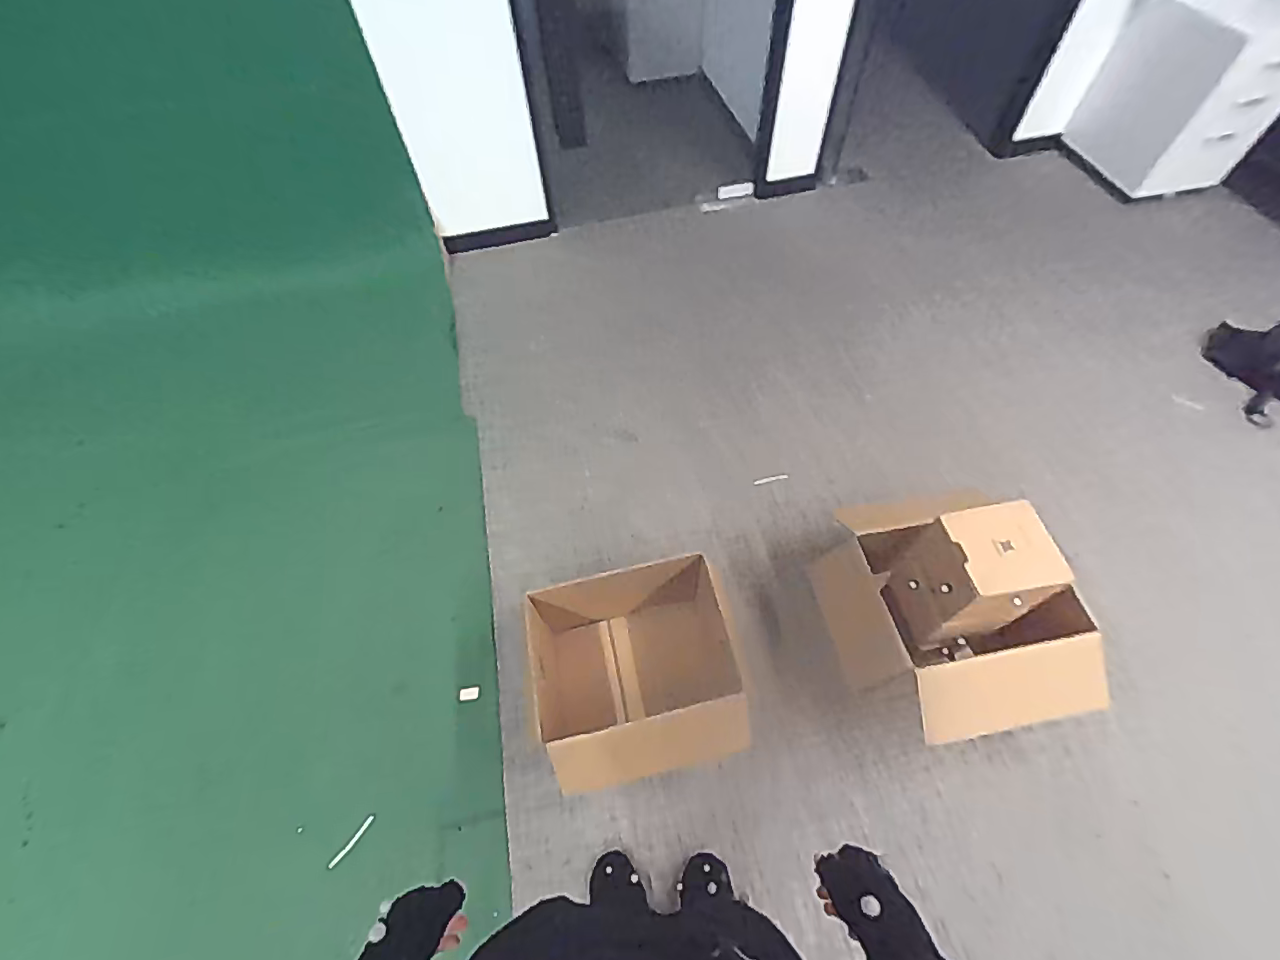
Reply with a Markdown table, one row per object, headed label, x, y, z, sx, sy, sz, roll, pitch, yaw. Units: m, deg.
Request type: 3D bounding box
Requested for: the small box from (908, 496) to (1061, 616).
| label | x | y | z | sx | sy | sz | roll | pitch | yaw |
| --- | --- | --- | --- | --- | --- | --- | --- | --- | --- |
| small box | 0.656 | 0.155 | 1.064 | 0.179 | 0.176 | 0.168 | -11 | 59 | -3 |
